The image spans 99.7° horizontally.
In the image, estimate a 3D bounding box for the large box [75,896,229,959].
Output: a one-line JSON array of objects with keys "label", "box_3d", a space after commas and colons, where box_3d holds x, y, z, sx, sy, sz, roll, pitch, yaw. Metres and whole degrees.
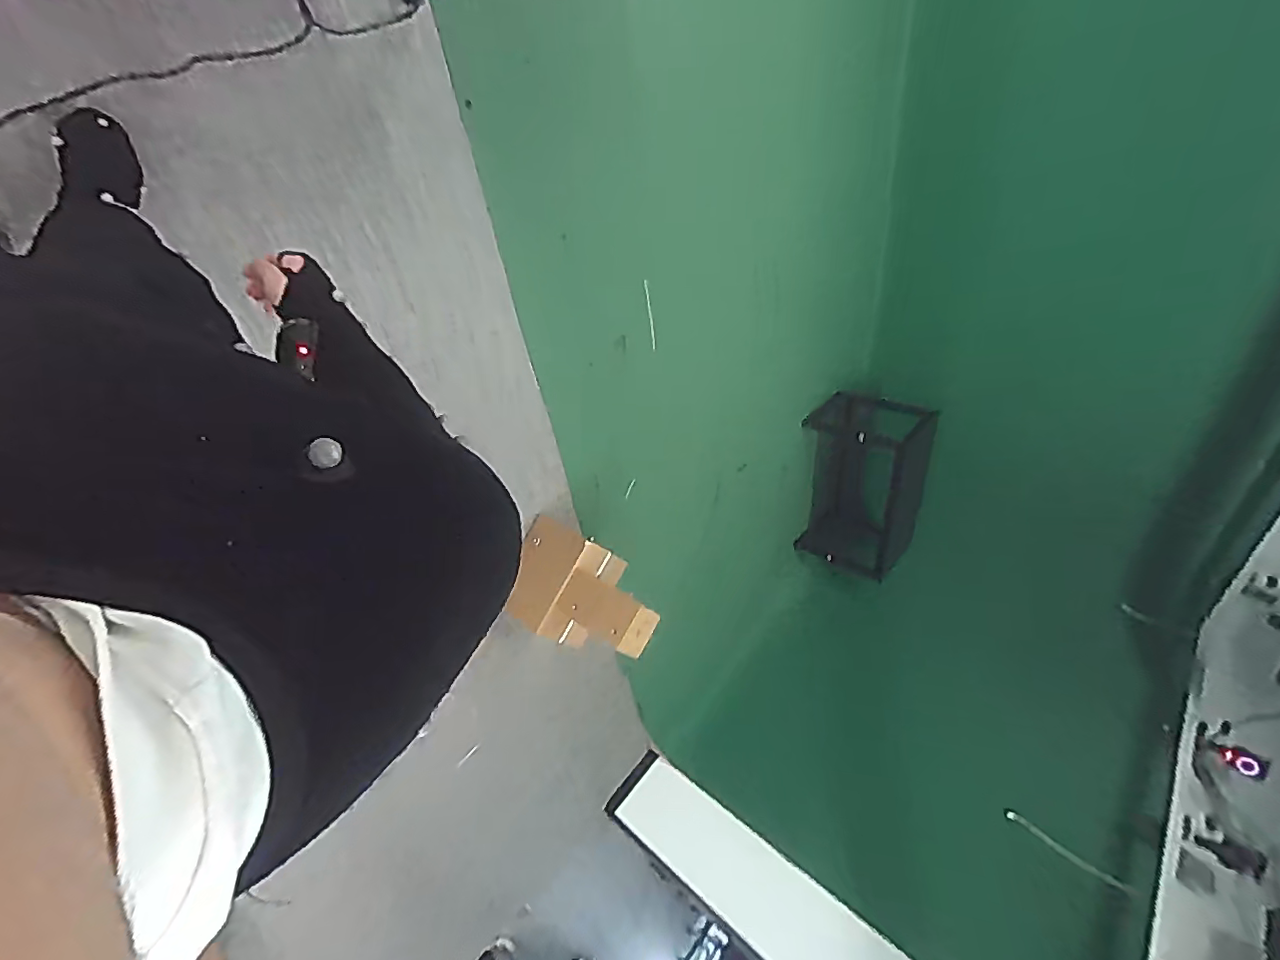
[{"label": "large box", "box_3d": [-1.440, 1.521, 1.522, 0.408, 0.320, 0.320, -4, 112, -51]}]

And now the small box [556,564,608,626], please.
[{"label": "small box", "box_3d": [-0.196, 0.450, 2.068, 0.179, 0.176, 0.168, -61, 143, -9]}]

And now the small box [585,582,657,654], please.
[{"label": "small box", "box_3d": [-0.075, 0.501, 1.969, 0.179, 0.176, 0.168, -59, 143, -10]}]
